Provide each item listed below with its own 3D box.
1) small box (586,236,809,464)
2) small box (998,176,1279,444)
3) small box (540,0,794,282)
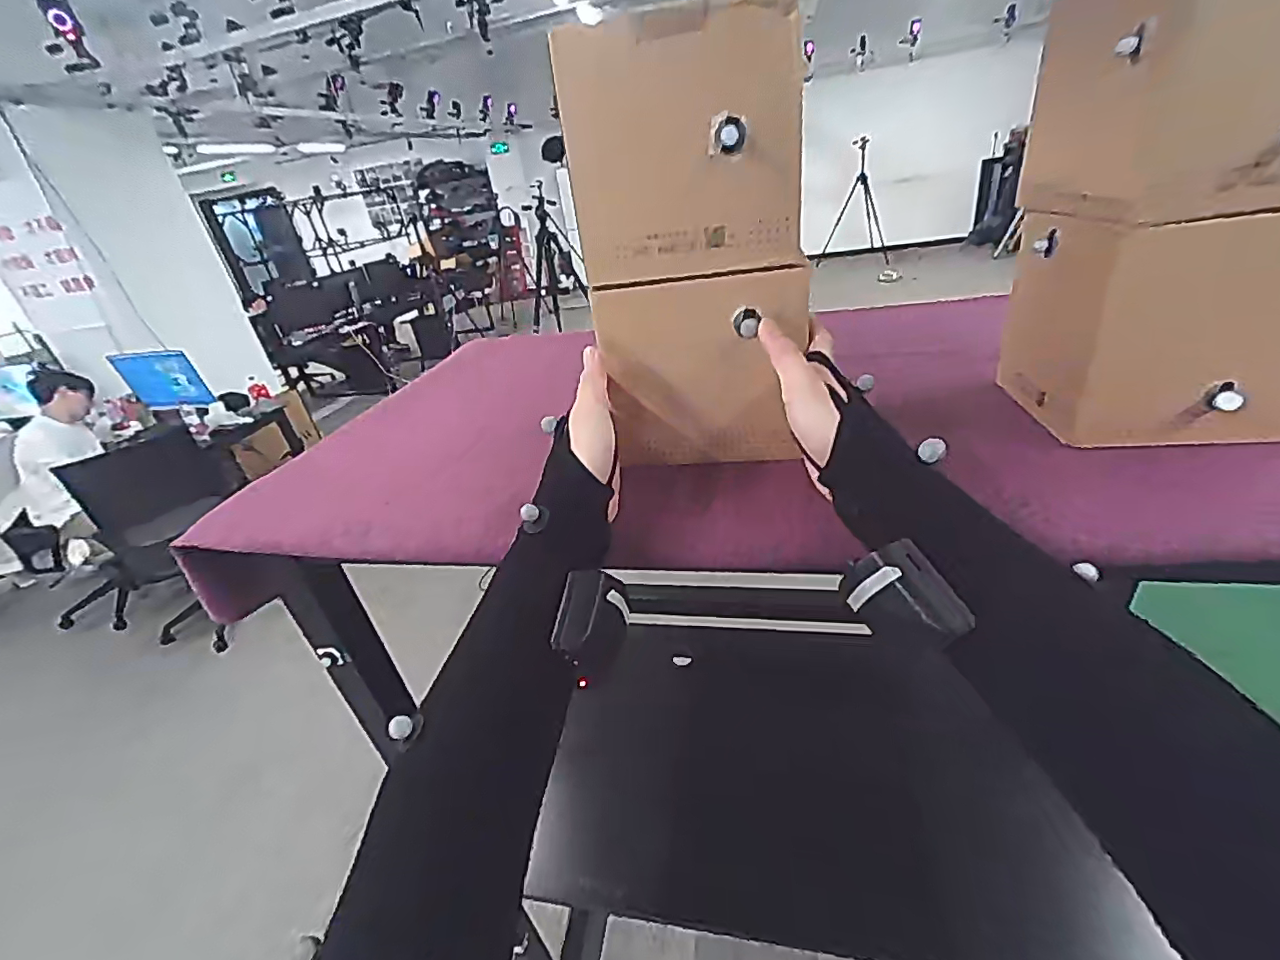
[{"bbox_3d":[0.066,-0.126,0.525,0.179,0.176,0.168,-3,30,13],"label":"small box"},{"bbox_3d":[0.428,-0.138,0.440,0.179,0.176,0.168,-1,29,14],"label":"small box"},{"bbox_3d":[0.039,-0.268,0.449,0.168,0.176,0.179,-1,30,14],"label":"small box"}]
